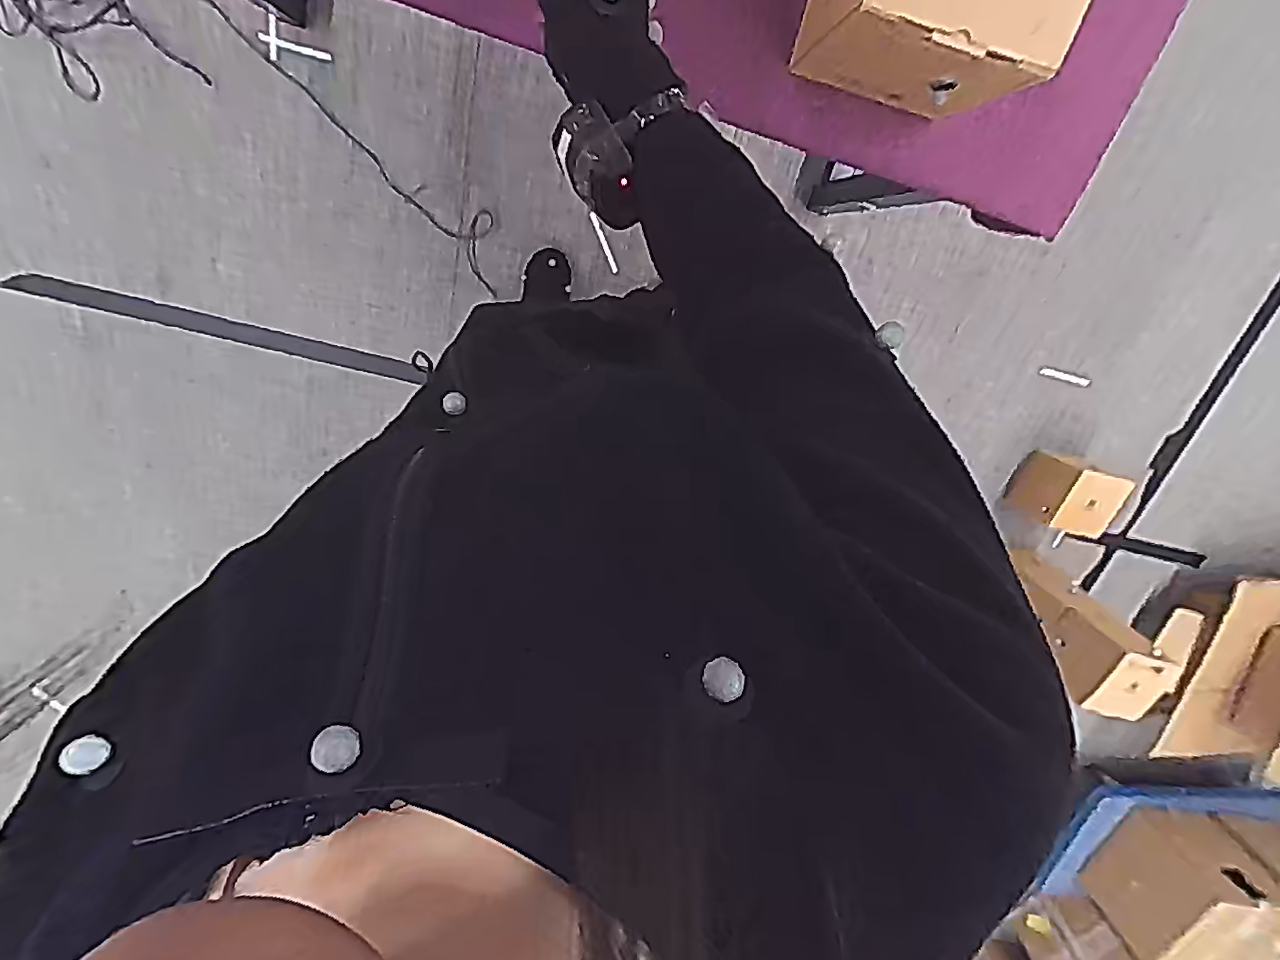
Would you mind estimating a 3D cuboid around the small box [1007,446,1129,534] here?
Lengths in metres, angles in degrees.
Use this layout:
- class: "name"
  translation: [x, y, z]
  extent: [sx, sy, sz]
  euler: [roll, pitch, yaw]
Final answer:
- class: "small box"
  translation: [1.179, 0.022, 1.507]
  extent: [0.168, 0.176, 0.179]
  euler: [12, 114, -10]

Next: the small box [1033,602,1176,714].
- class: "small box"
  translation: [1.123, 0.434, 1.330]
  extent: [0.168, 0.176, 0.179]
  euler: [17, 114, -11]

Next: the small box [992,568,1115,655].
- class: "small box"
  translation: [1.117, 0.366, 1.479]
  extent: [0.168, 0.176, 0.179]
  euler: [14, 114, -9]

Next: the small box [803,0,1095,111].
- class: "small box"
  translation: [0.251, -0.426, 0.432]
  extent: [0.168, 0.176, 0.179]
  euler: [11, 113, -9]

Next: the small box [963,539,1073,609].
- class: "small box"
  translation: [1.125, 0.296, 1.629]
  extent: [0.179, 0.176, 0.168]
  euler: [11, 114, -9]
